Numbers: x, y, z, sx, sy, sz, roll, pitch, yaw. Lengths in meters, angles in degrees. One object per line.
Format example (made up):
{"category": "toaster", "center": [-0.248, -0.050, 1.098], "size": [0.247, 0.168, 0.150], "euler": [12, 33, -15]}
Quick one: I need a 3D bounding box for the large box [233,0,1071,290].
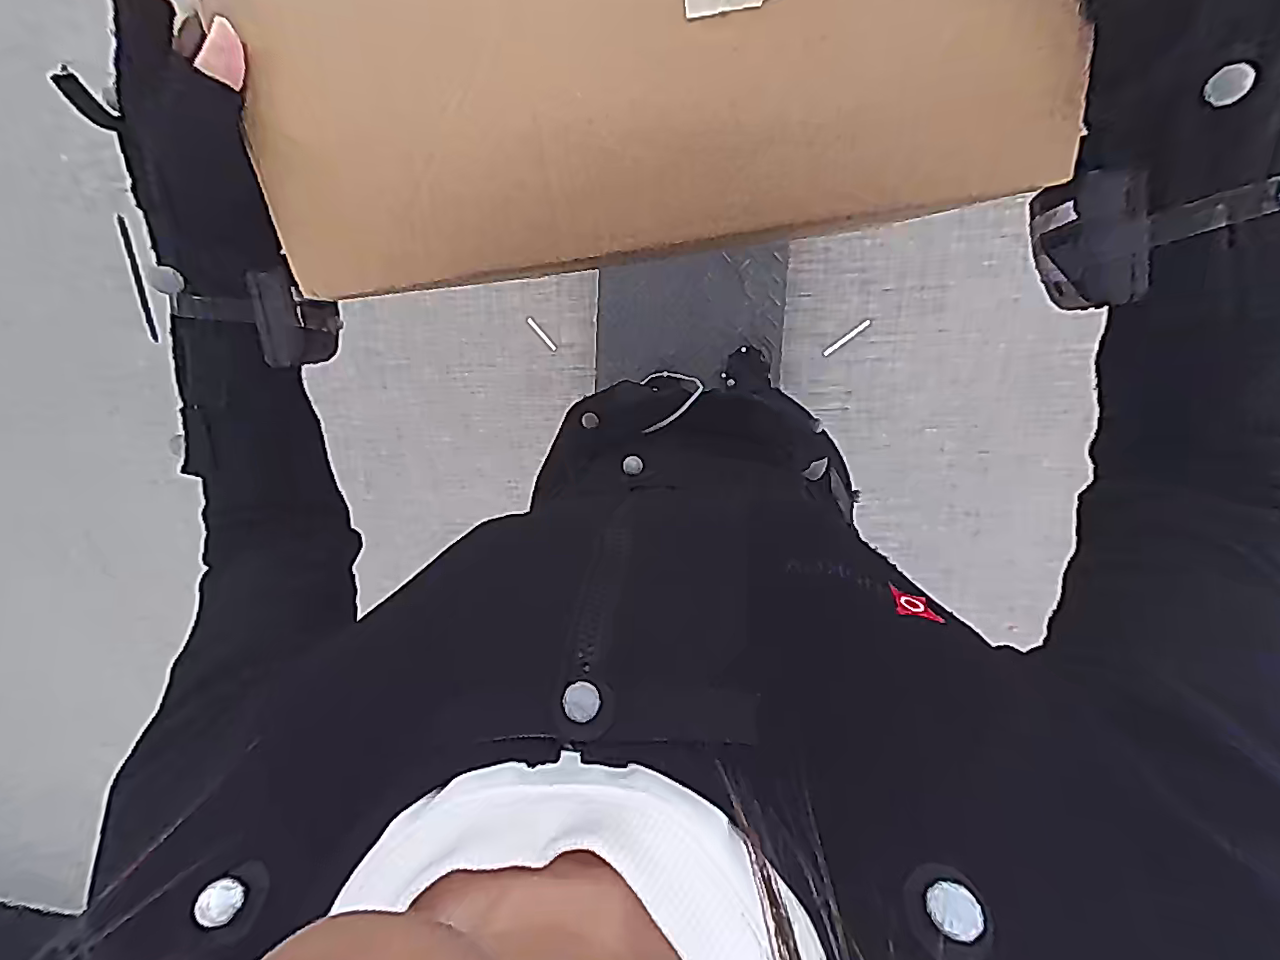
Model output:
{"category": "large box", "center": [0.002, -0.328, 0.377], "size": [0.408, 0.320, 0.320], "euler": [-4, 112, 11]}
